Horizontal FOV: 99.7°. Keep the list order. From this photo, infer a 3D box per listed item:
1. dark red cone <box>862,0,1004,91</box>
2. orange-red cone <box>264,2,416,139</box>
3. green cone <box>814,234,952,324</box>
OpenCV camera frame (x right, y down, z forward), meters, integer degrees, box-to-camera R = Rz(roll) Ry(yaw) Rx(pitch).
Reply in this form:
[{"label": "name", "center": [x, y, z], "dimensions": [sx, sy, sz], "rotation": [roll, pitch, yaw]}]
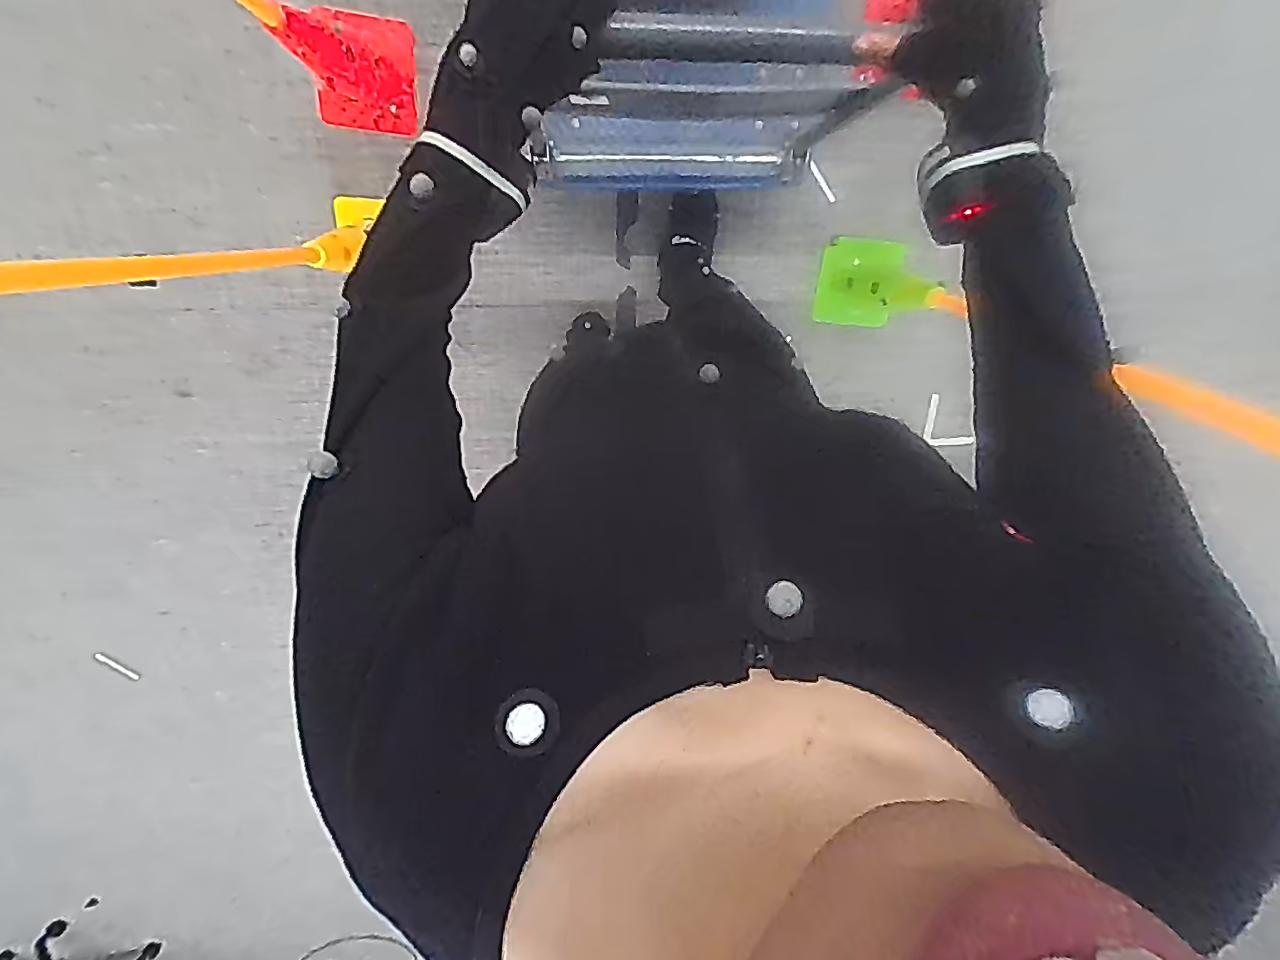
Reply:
[{"label": "dark red cone", "center": [0.578, -0.854, 0.965], "dimensions": [0.201, 0.394, 0.202], "rotation": [-2, 115, -5]}, {"label": "orange-red cone", "center": [-0.553, -0.762, 0.960], "dimensions": [0.198, 0.360, 0.199], "rotation": [5, 113, -7]}, {"label": "green cone", "center": [0.553, -0.422, 1.184], "dimensions": [0.202, 0.368, 0.200], "rotation": [2, 115, -6]}]
